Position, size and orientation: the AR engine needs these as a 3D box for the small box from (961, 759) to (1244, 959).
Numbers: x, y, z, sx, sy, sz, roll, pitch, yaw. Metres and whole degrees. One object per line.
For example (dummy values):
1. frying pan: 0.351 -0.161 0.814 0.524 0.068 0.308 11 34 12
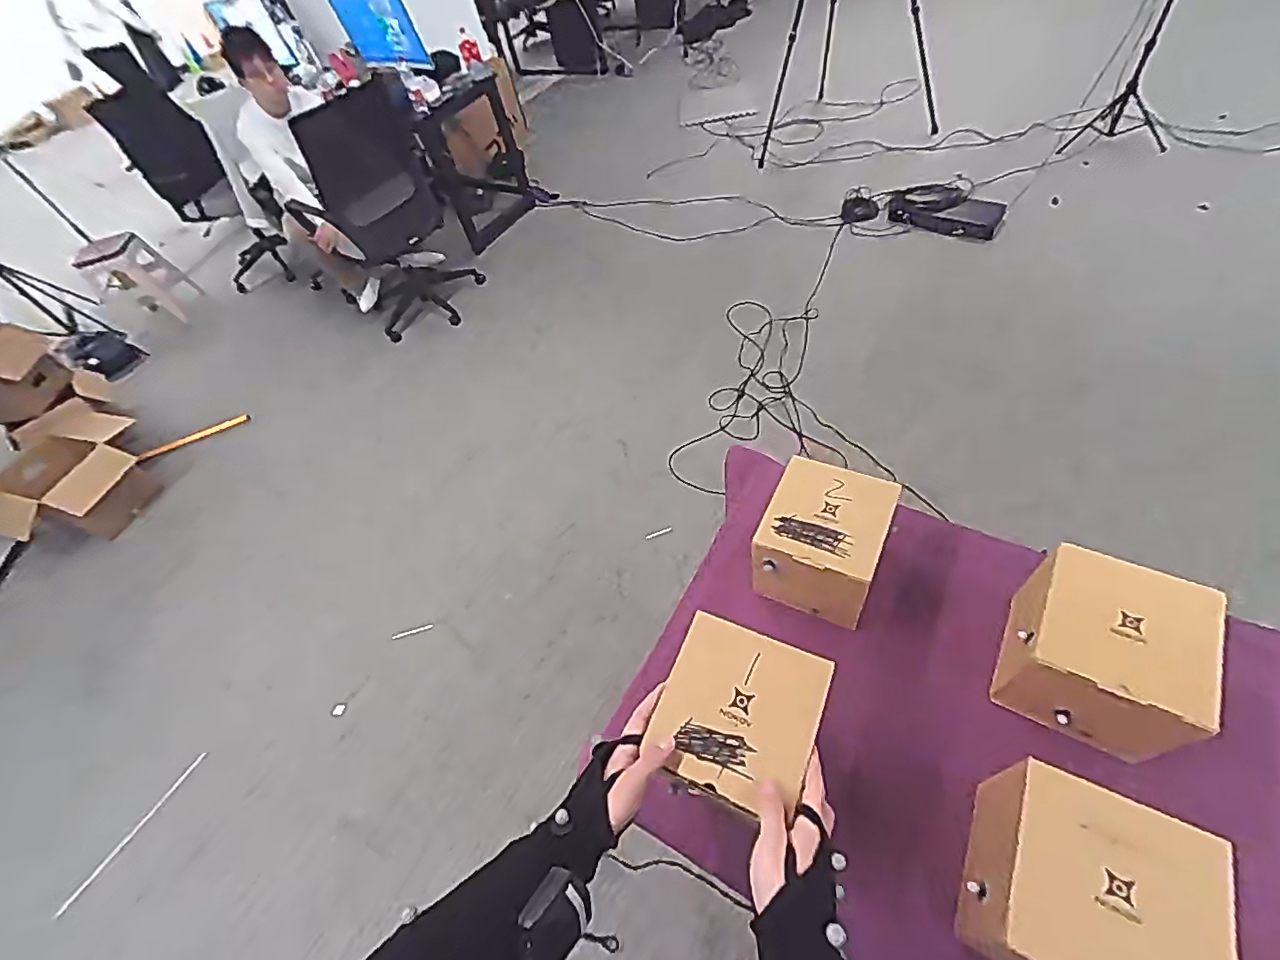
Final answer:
1. small box: 0.448 0.424 0.547 0.168 0.176 0.179 19 58 25

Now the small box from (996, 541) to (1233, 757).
1. small box: 0.578 0.213 0.678 0.168 0.176 0.179 21 62 26

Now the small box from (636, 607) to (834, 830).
1. small box: 0.116 0.286 0.642 0.168 0.176 0.179 18 60 21
